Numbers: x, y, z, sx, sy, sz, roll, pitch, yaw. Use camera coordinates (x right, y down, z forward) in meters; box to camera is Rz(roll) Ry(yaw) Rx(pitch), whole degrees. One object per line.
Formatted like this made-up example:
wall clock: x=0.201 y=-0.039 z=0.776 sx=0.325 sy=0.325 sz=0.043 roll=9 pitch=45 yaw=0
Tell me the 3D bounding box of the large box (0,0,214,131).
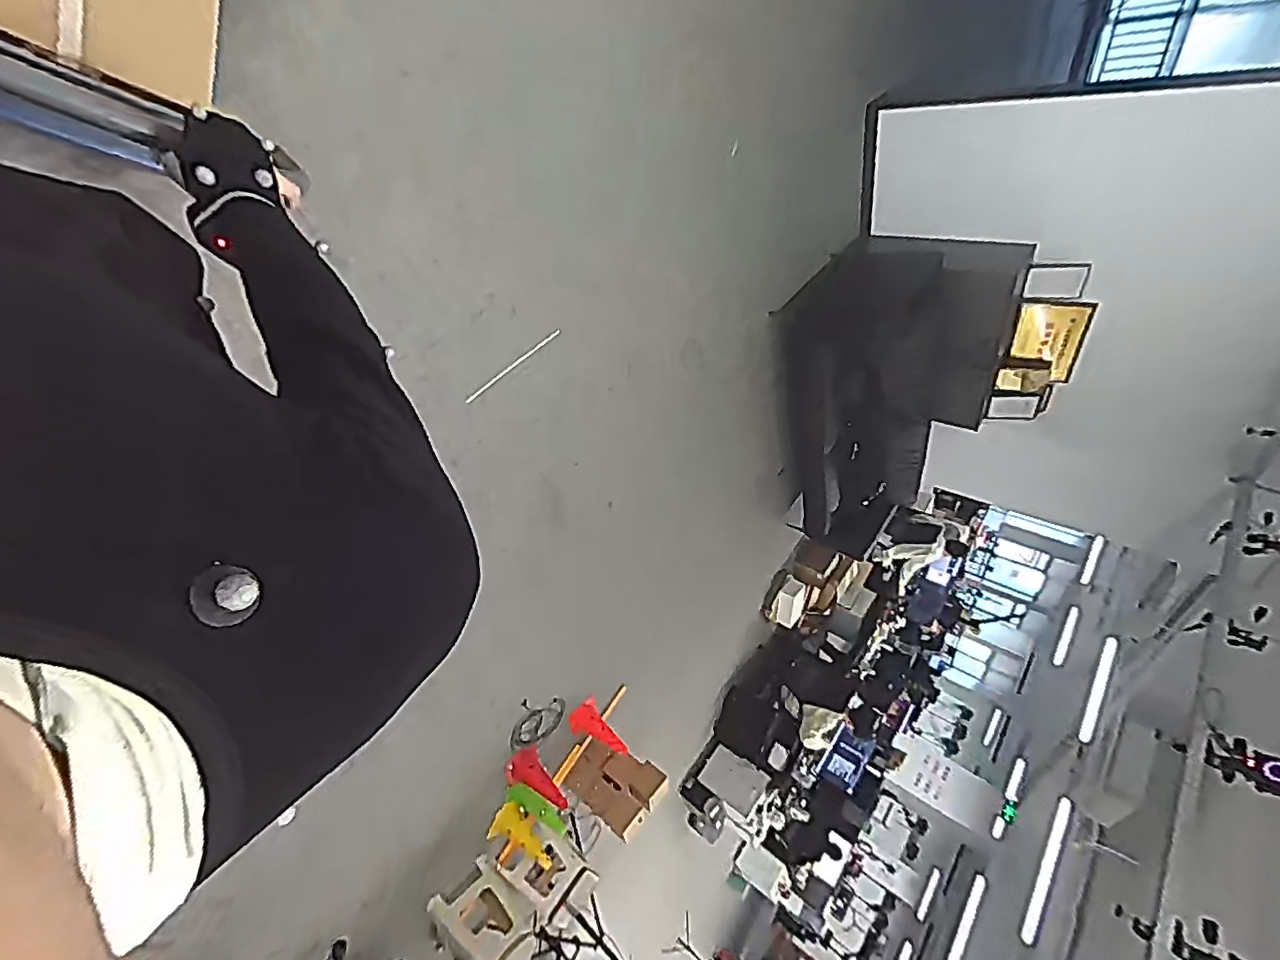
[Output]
large box: x=-0.847 y=-0.796 z=0.780 sx=0.320 sy=0.320 sz=0.408 roll=-2 pitch=109 yaw=-53
